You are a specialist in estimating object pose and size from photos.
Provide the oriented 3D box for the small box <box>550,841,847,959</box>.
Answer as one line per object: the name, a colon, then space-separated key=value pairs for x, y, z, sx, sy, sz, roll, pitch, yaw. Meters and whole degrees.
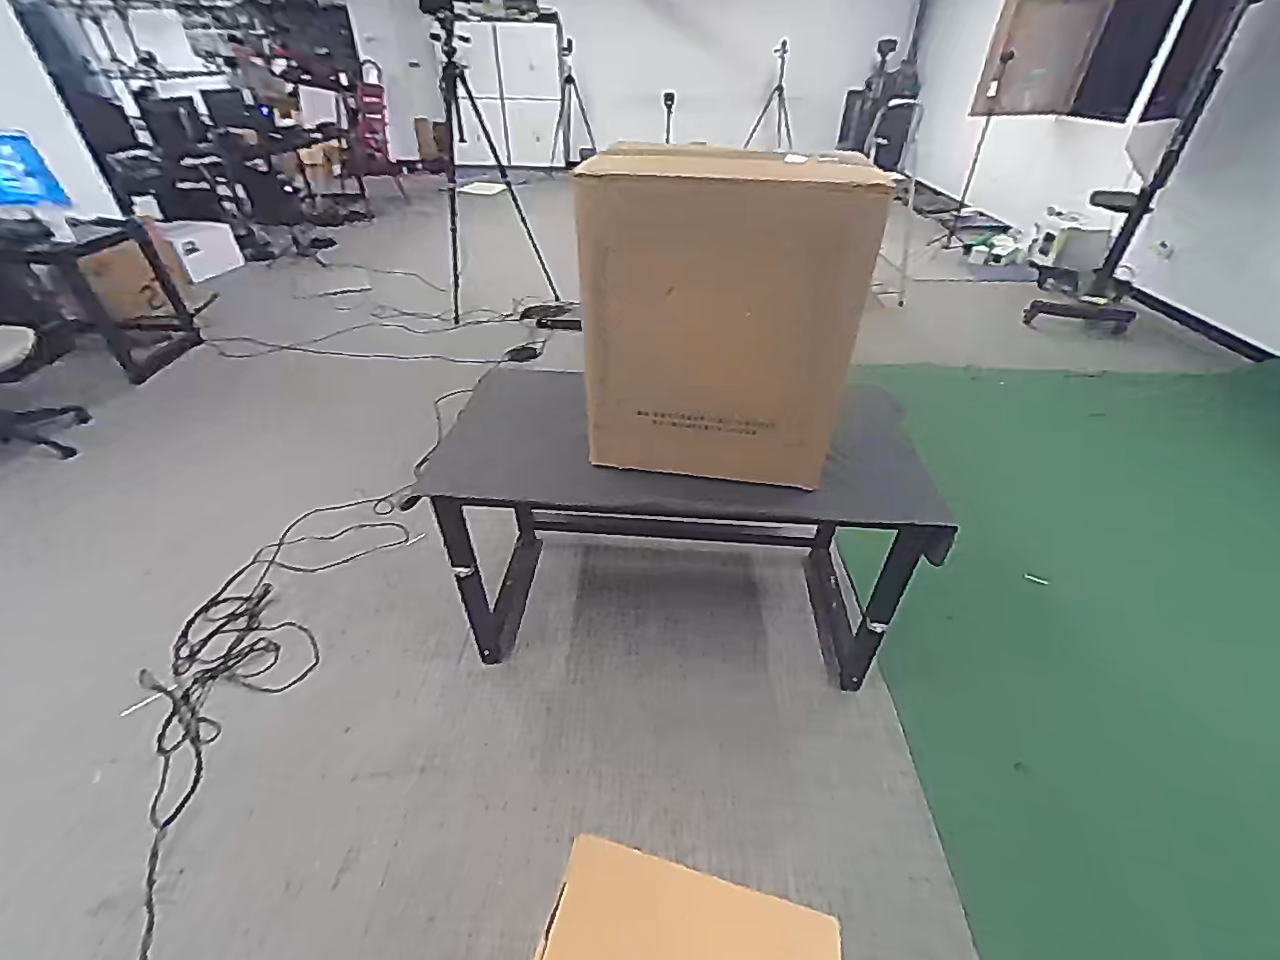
small box: x=0.019 y=0.373 z=0.333 sx=0.179 sy=0.176 sz=0.168 roll=12 pitch=31 yaw=9
